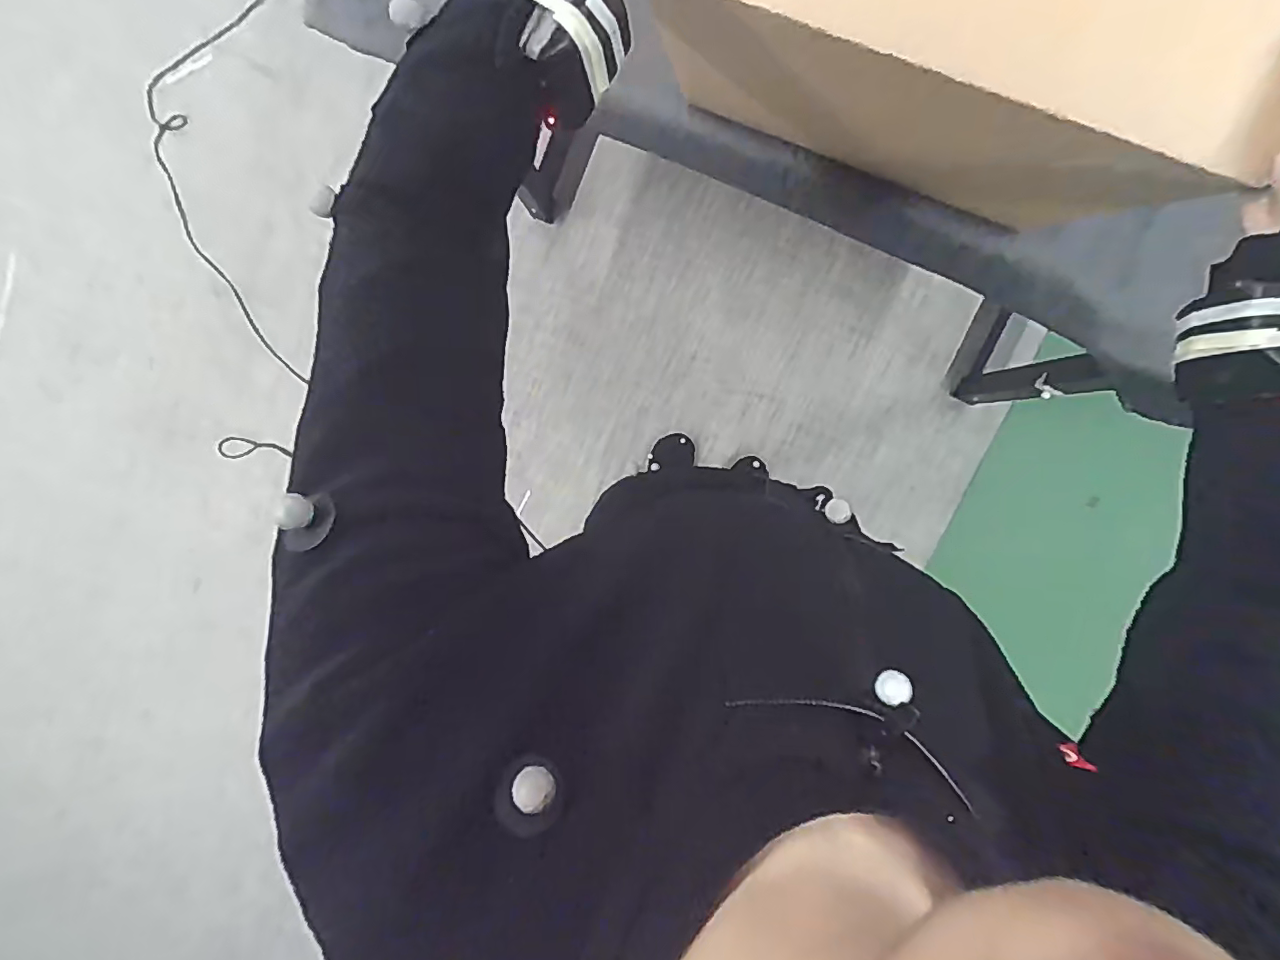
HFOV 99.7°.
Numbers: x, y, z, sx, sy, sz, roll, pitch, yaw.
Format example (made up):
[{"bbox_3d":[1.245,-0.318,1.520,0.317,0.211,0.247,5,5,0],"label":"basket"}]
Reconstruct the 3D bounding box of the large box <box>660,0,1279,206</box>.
[{"bbox_3d":[0.253,-0.444,0.401,0.408,0.320,0.320,21,114,2],"label":"large box"}]
